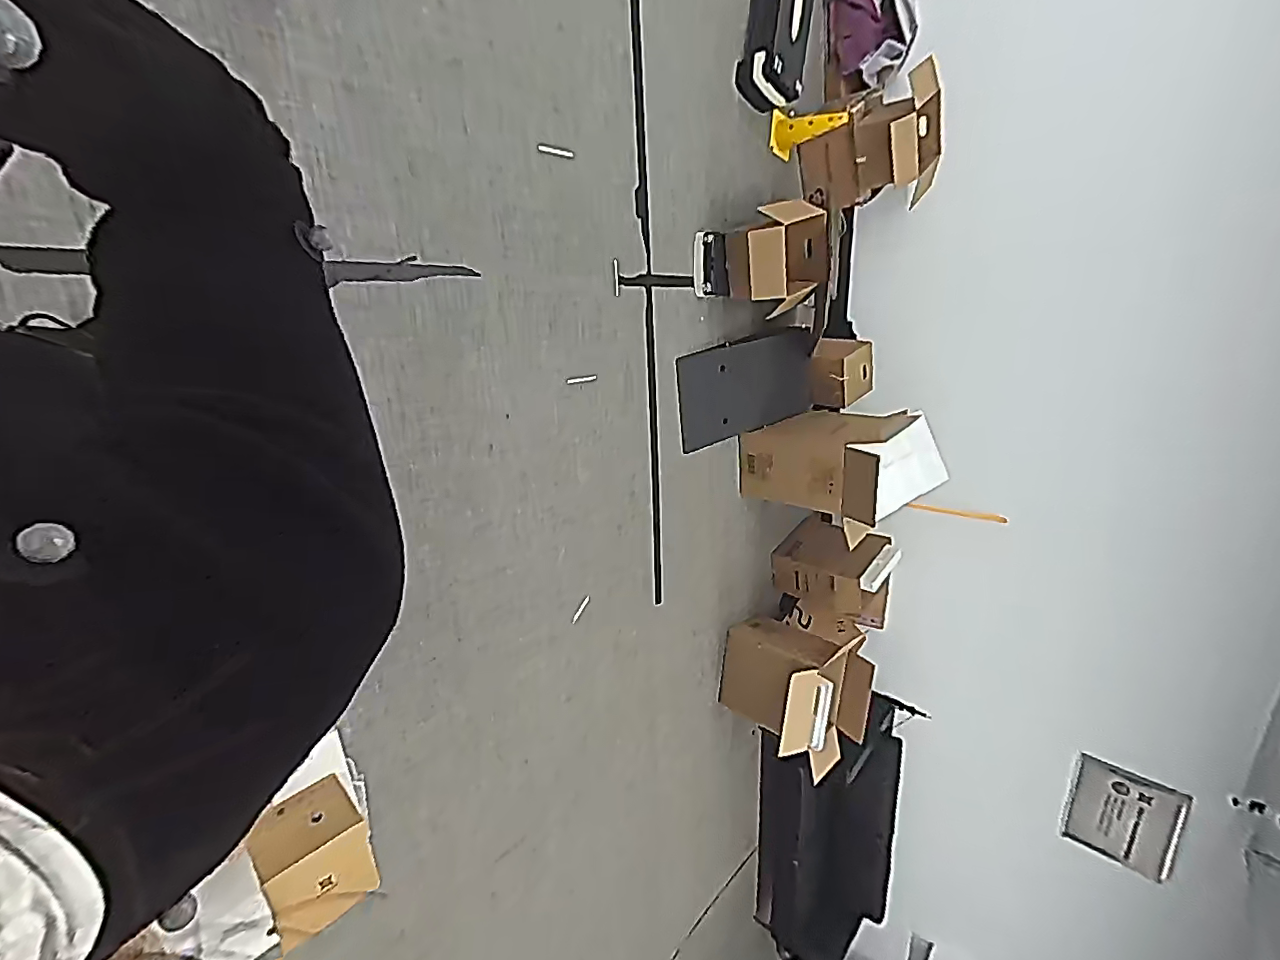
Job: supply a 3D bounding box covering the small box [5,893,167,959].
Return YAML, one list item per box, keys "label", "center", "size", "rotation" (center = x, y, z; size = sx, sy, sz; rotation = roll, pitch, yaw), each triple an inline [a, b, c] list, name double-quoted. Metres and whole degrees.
- label: "small box"
  center: [-0.833, 0.787, 0.814]
  size: [0.168, 0.176, 0.179]
  rotation: [-25, 119, -44]

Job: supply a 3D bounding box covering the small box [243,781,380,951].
- label: "small box"
  center: [-0.626, 0.716, 1.032]
  size: [0.168, 0.176, 0.179]
  rotation: [-20, 116, -43]
